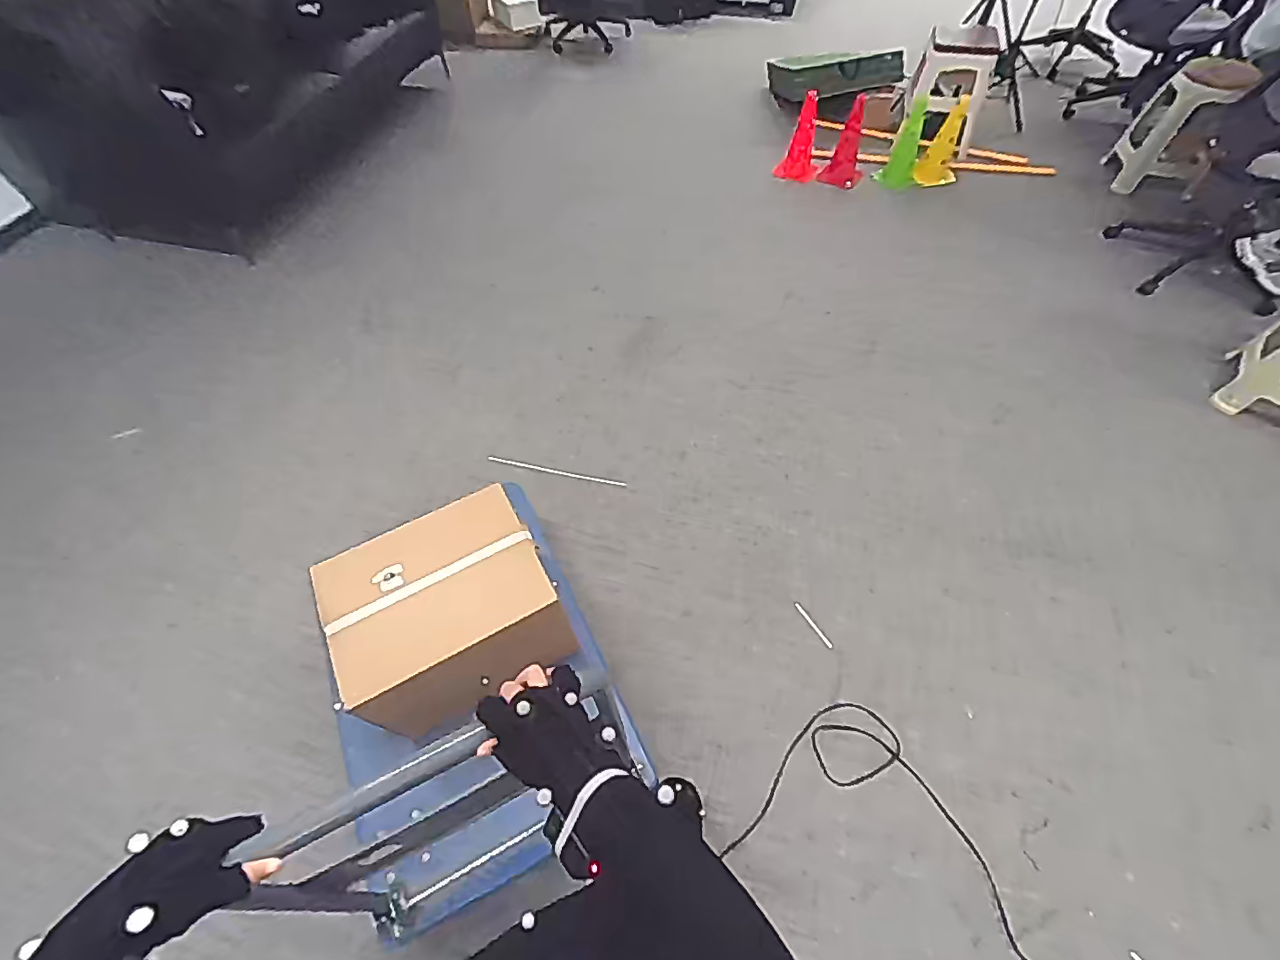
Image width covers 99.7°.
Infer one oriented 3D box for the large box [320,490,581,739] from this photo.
[{"bbox_3d":[-0.389,0.296,1.181,0.408,0.320,0.320,-27,58,-14],"label":"large box"}]
